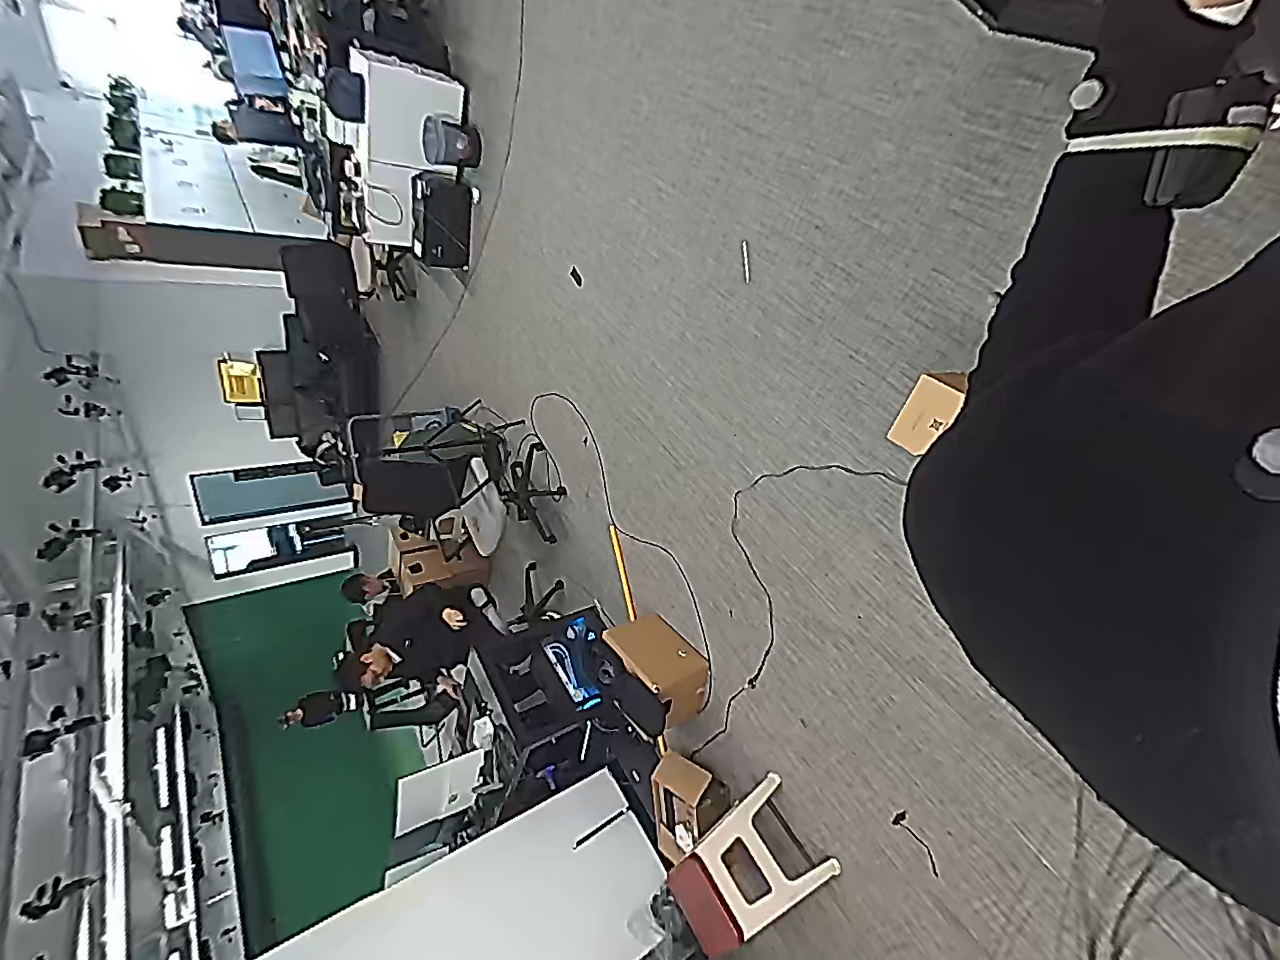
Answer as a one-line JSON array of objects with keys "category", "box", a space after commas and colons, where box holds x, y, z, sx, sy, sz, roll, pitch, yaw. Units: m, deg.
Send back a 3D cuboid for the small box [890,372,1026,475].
[{"category": "small box", "box": [0.710, -0.135, 1.207, 0.179, 0.176, 0.168, 46, 132, 38]}]
